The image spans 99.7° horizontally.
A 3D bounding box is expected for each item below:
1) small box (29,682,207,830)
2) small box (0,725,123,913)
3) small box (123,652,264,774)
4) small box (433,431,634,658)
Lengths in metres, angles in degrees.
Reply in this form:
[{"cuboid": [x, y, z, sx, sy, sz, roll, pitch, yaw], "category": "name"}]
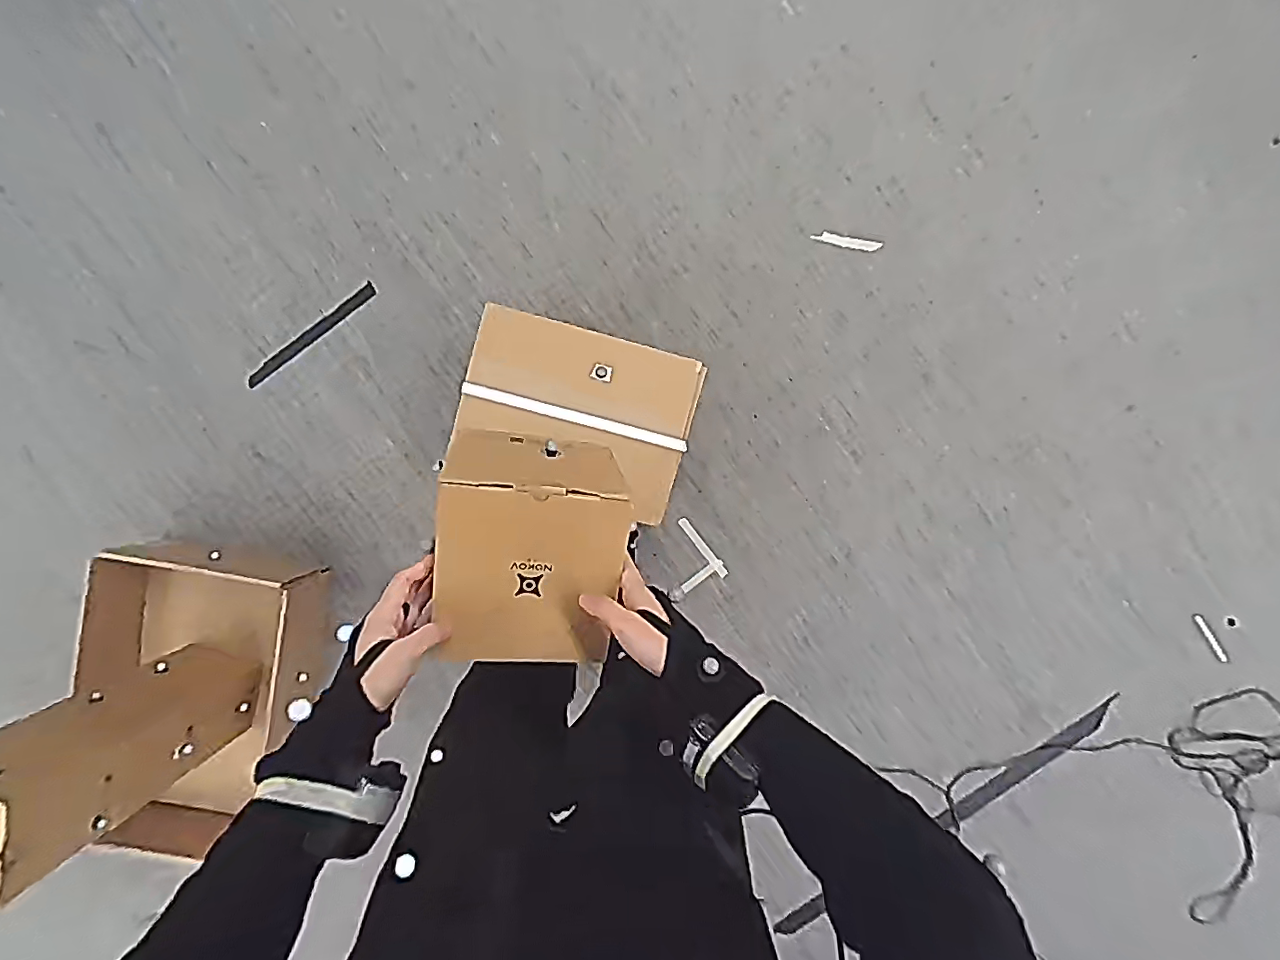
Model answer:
[{"cuboid": [-0.952, 0.492, 0.989, 0.179, 0.176, 0.168, 12, 94, -3], "category": "small box"}, {"cuboid": [-0.954, 0.502, 0.825, 0.179, 0.176, 0.168, 11, 93, 0], "category": "small box"}, {"cuboid": [-0.954, 0.484, 1.151, 0.179, 0.176, 0.168, 13, 93, -2], "category": "small box"}, {"cuboid": [-0.111, 0.060, 0.562, 0.168, 0.176, 0.179, 6, 107, -13], "category": "small box"}]
